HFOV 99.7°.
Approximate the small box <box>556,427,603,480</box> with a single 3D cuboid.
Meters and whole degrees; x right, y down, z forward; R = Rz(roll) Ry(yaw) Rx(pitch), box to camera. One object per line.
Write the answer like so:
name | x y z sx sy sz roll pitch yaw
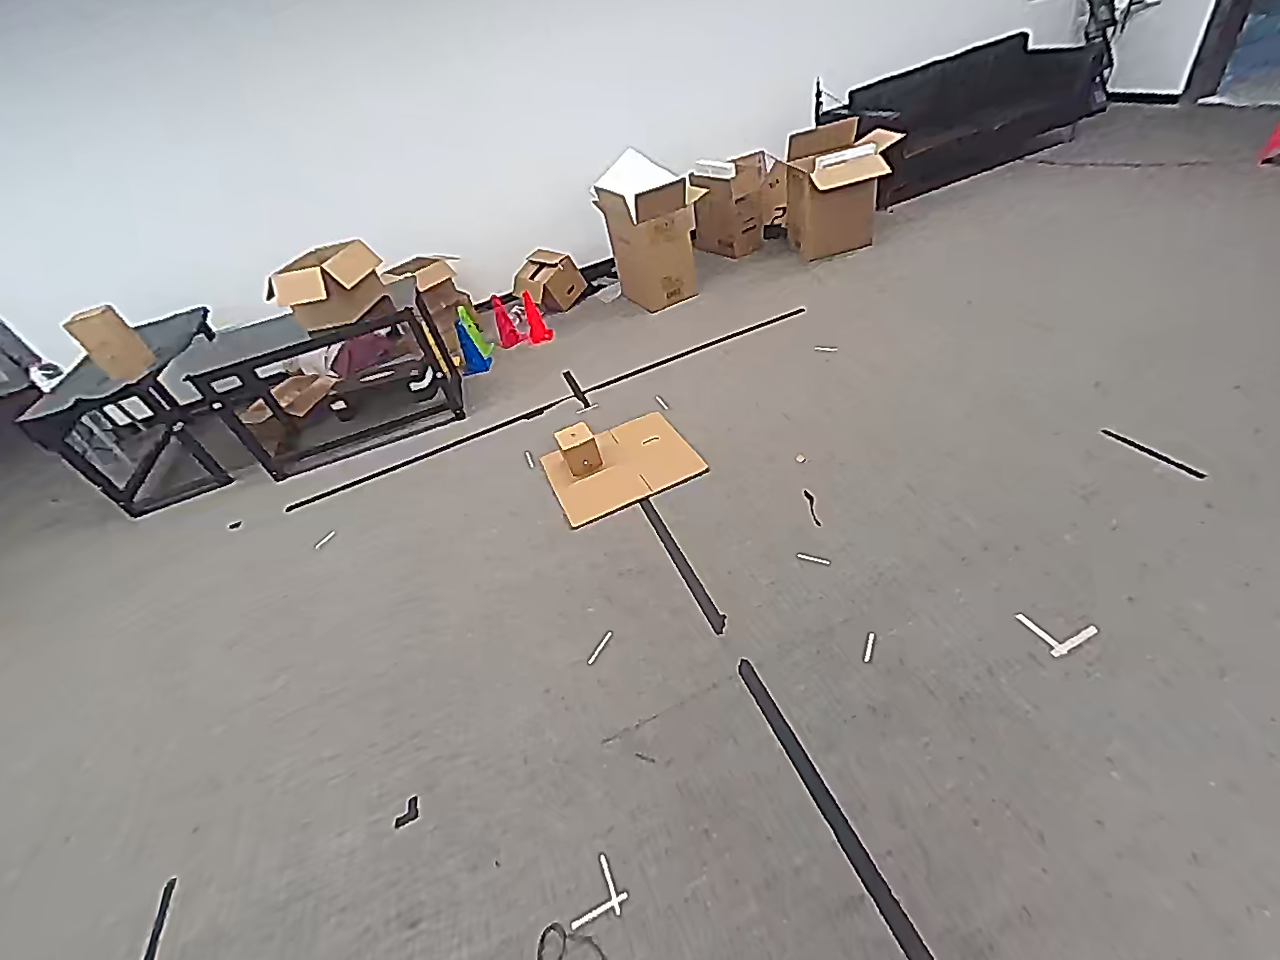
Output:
small box | -0.304 -0.131 2.708 0.168 0.176 0.179 -24 40 -10
